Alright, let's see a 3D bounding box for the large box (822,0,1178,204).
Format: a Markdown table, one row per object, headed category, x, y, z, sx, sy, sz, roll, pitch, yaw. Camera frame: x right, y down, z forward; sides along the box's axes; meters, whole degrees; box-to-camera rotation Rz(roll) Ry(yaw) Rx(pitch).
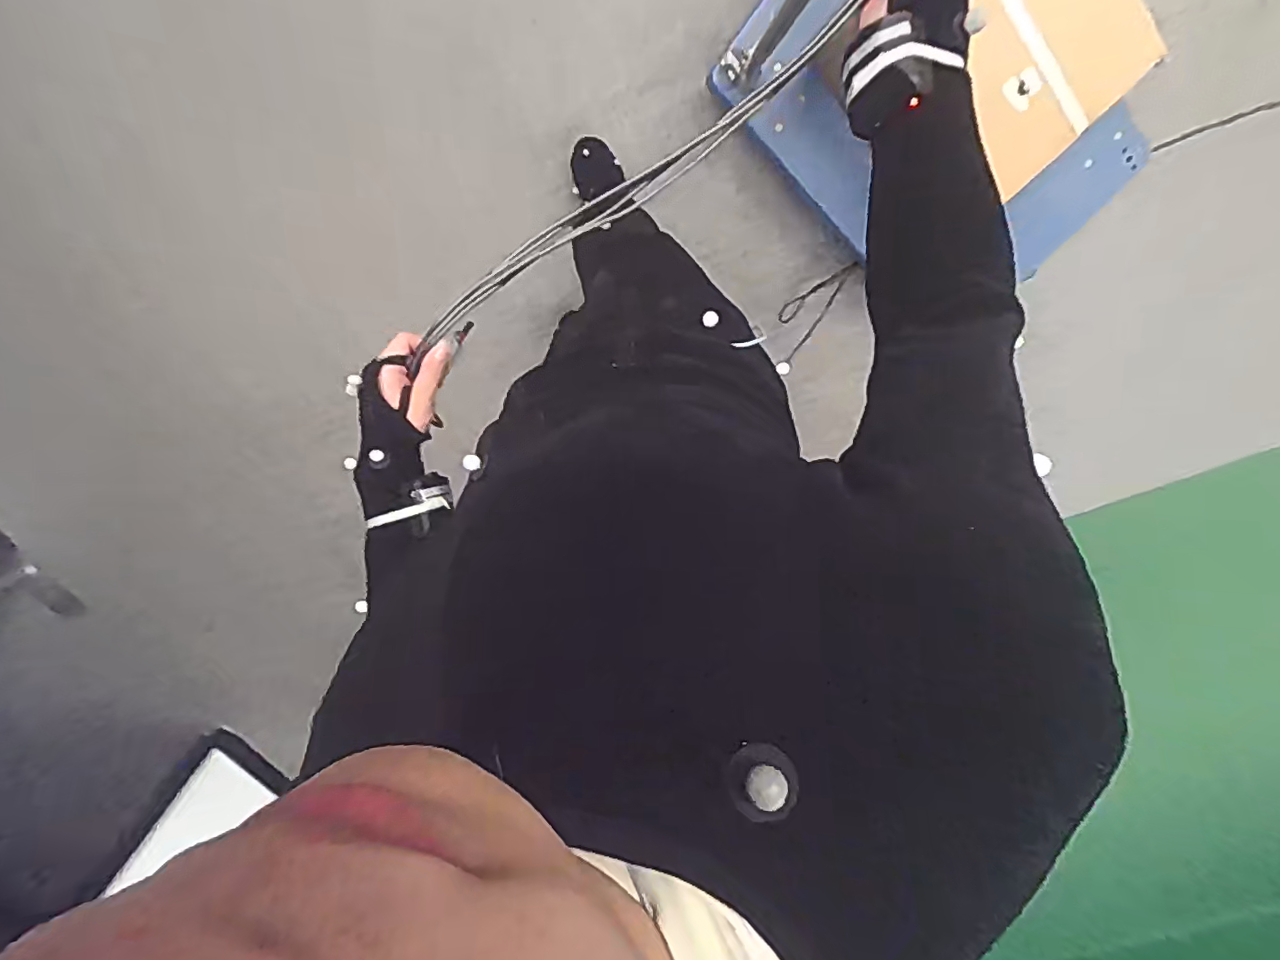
| category | x | y | z | sx | sy | sz | roll | pitch | yaw |
| --- | --- | --- | --- | --- | --- | --- | --- | --- | --- |
| large box | 0.616 | -0.777 | 0.985 | 0.408 | 0.320 | 0.320 | 39 | 109 | -20 |
